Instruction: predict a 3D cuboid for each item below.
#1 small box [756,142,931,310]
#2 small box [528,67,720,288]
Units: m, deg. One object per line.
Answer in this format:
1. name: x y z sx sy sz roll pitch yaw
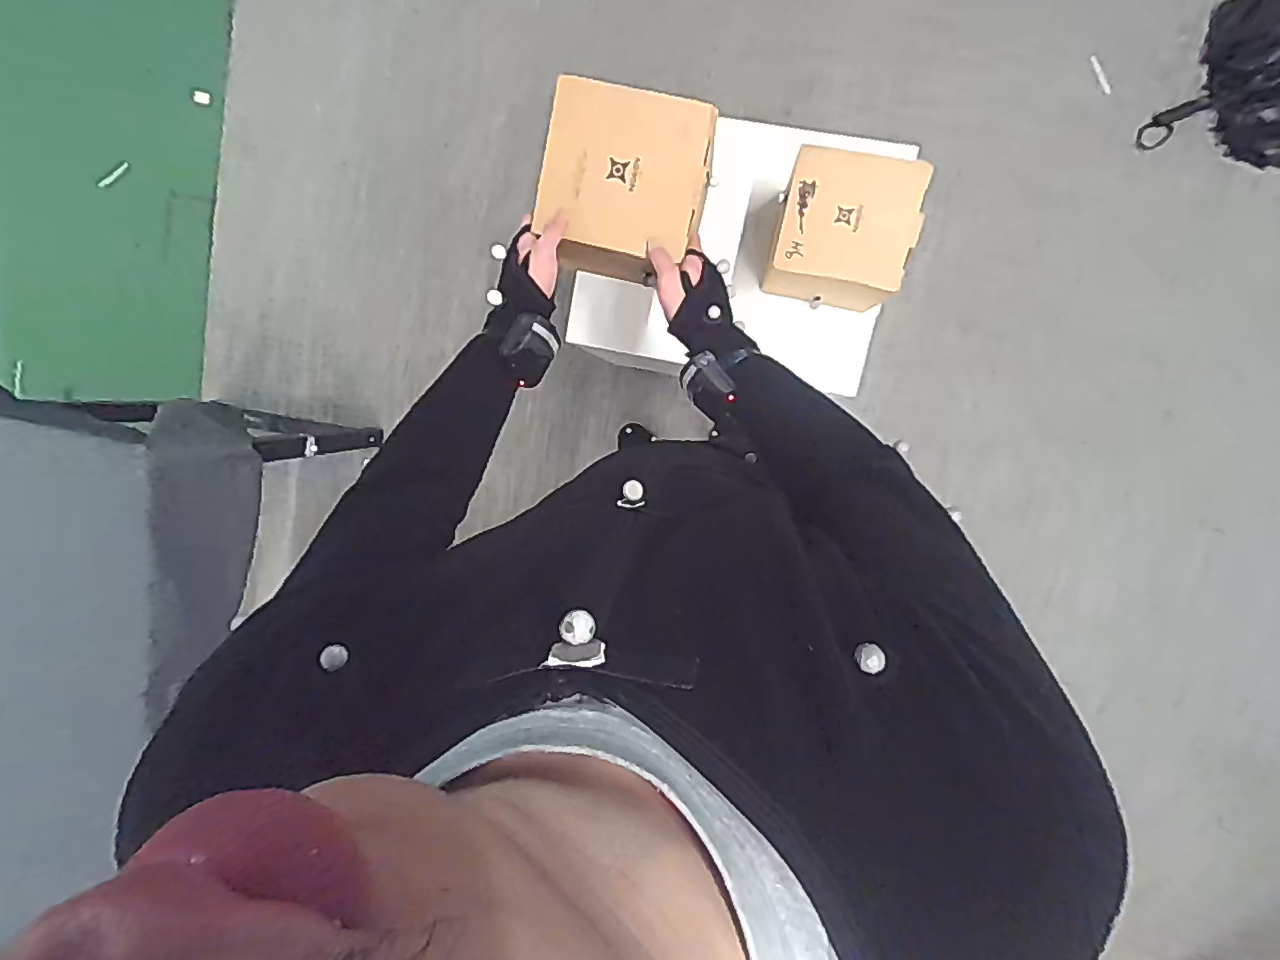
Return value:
1. small box: 0.283 -0.357 0.795 0.179 0.176 0.168 13 98 3
2. small box: -0.013 -0.339 0.643 0.179 0.176 0.168 13 98 3
